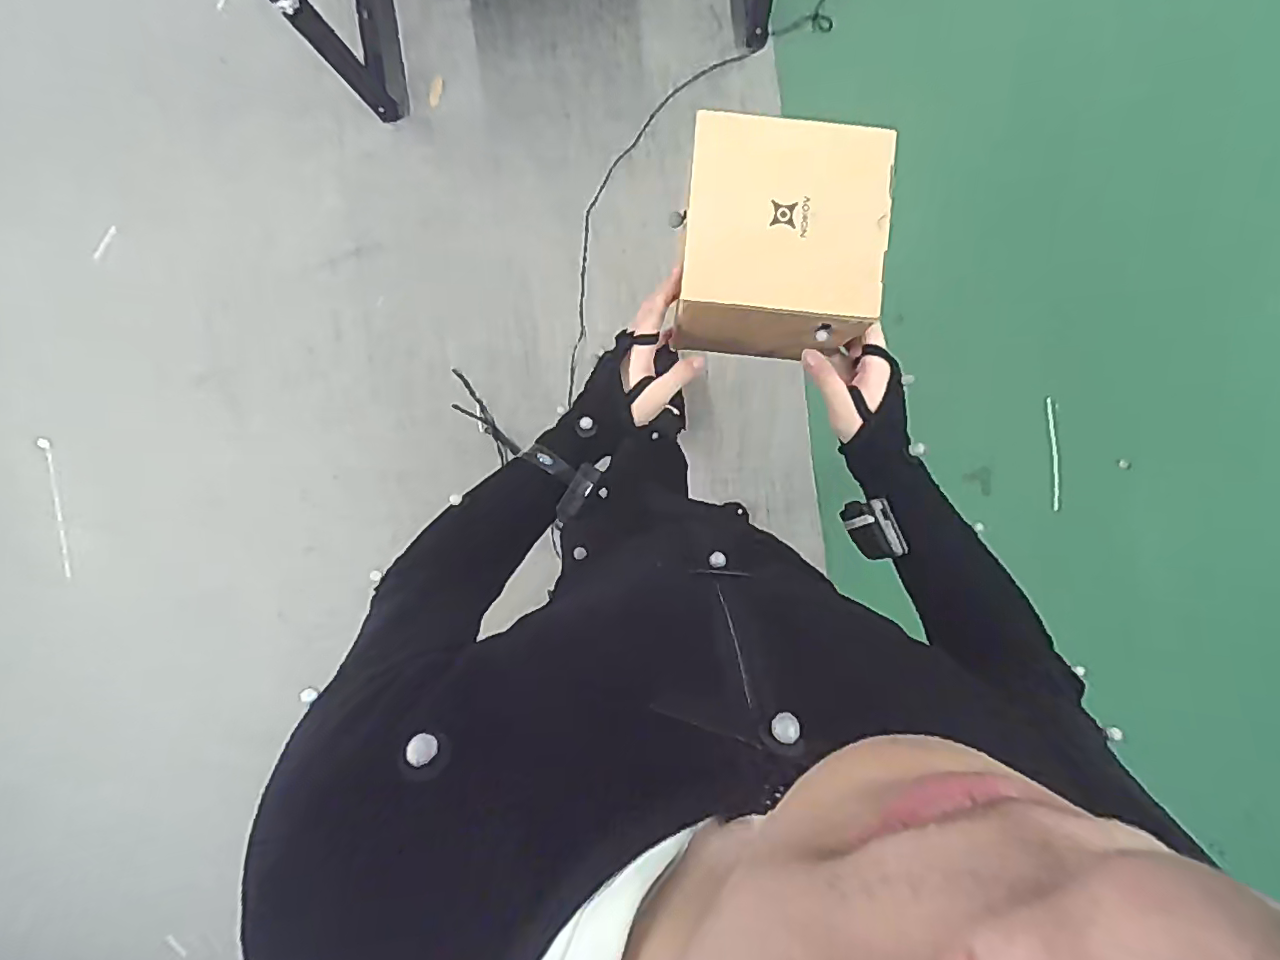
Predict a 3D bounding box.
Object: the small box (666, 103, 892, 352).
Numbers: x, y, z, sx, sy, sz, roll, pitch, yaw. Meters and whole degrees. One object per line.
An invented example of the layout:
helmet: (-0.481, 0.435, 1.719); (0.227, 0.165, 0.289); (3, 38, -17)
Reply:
small box: (0.121, -0.233, 0.541); (0.179, 0.176, 0.168); (5, 90, -2)
